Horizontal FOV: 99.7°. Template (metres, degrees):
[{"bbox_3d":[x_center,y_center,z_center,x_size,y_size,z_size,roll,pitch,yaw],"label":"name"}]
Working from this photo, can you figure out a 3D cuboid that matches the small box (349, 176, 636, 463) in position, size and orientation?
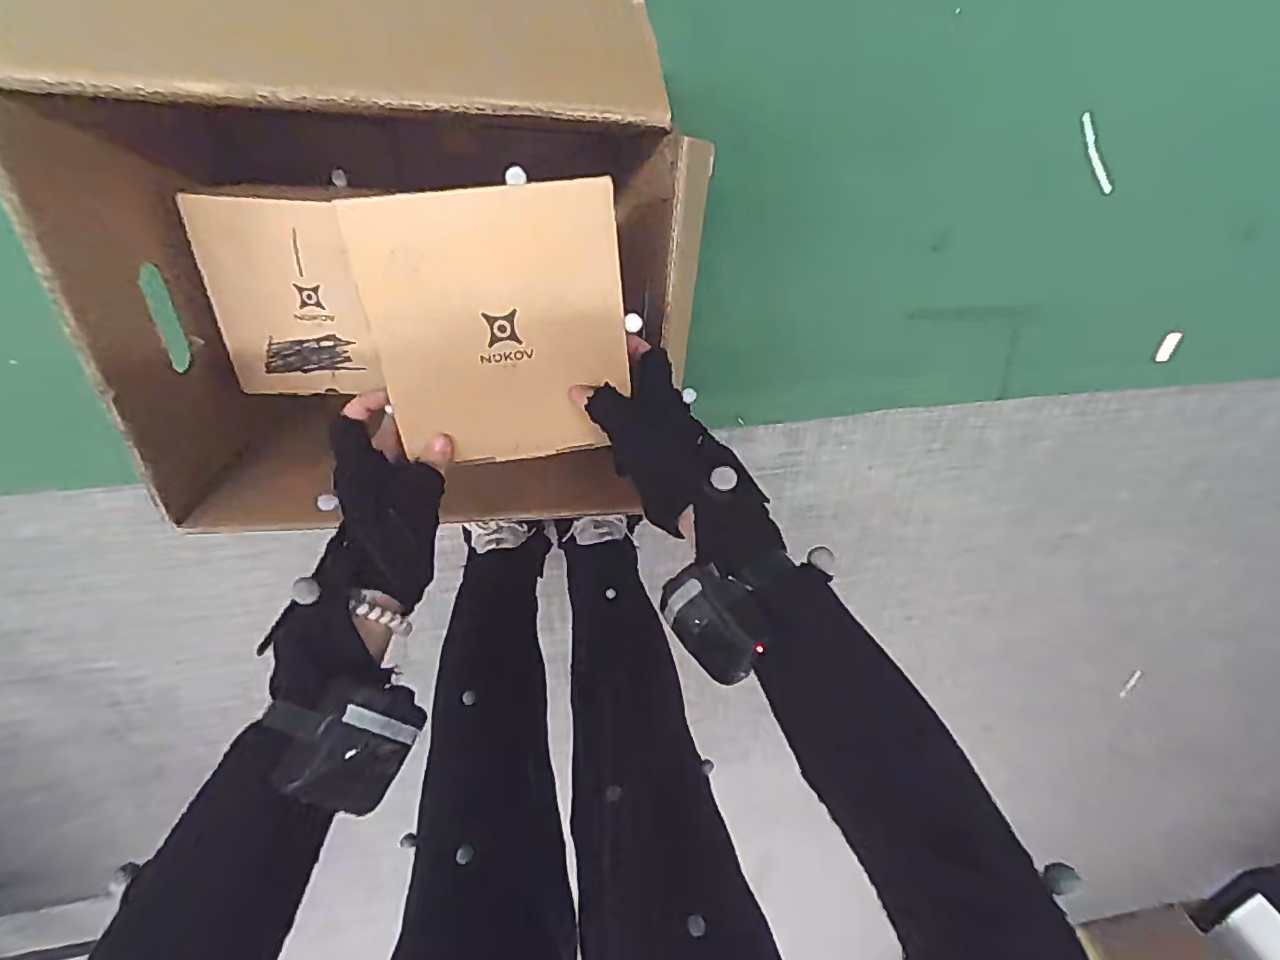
[{"bbox_3d":[-0.101,-0.133,0.434,0.168,0.176,0.179,-8,116,-6],"label":"small box"}]
